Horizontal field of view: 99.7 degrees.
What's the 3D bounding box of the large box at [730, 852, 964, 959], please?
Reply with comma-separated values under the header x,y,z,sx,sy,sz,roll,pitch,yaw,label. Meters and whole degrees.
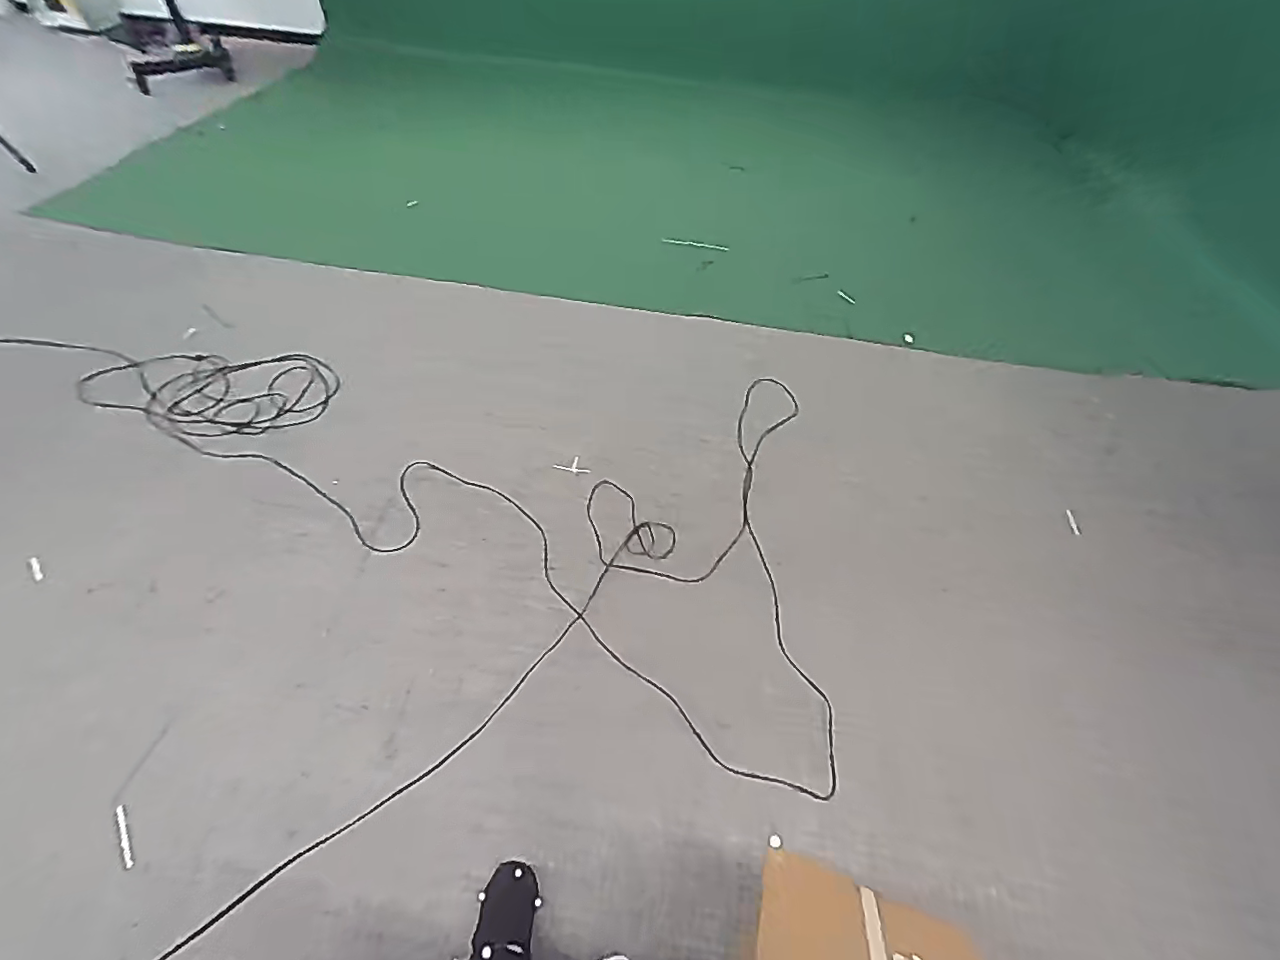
x,y,z,sx,sy,sz,roll,pitch,yaw,label
0.254,0.802,0.683,0.320,0.408,0.320,17,94,15,large box
